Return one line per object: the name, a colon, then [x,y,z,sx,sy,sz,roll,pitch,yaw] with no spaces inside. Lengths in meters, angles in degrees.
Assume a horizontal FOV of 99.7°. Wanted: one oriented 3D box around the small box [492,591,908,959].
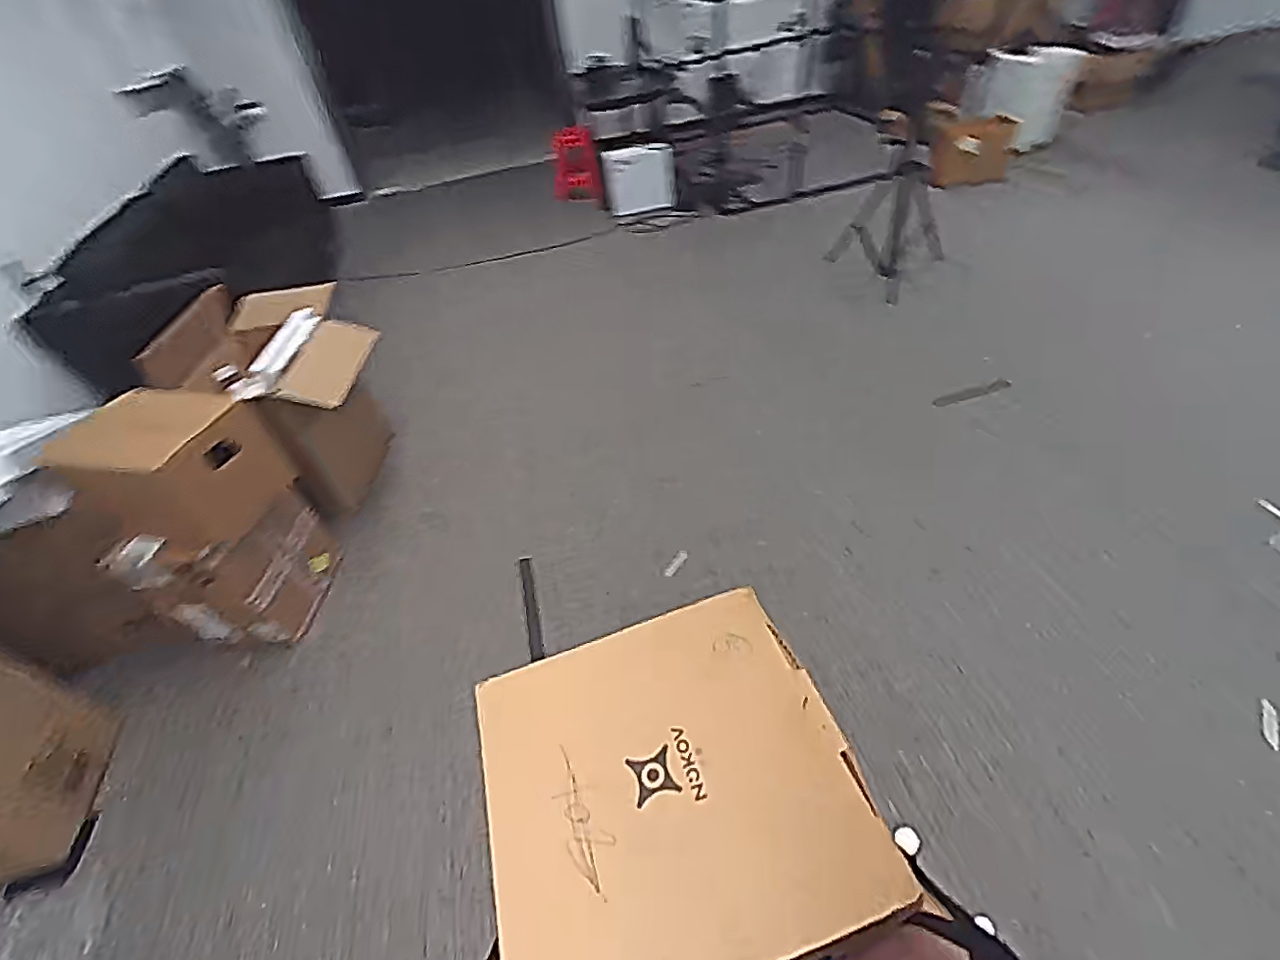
small box: [0.026,0.204,0.336,0.179,0.176,0.168,-19,44,-5]
